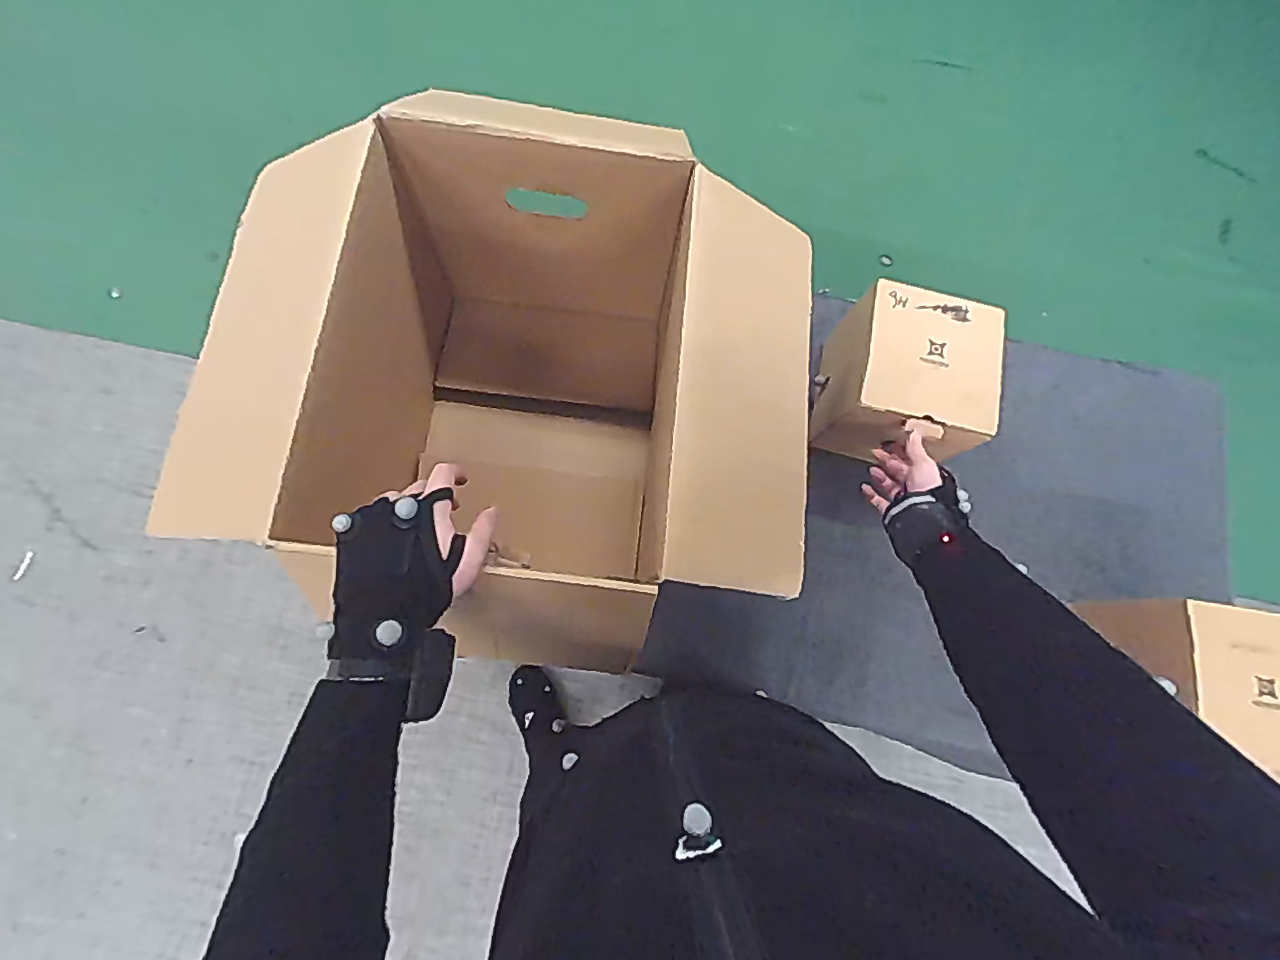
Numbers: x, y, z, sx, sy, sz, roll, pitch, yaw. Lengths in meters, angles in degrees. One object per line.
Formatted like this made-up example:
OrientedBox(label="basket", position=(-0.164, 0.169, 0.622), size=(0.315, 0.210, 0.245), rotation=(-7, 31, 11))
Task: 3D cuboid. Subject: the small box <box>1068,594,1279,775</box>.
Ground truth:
OrientedBox(label="small box", position=(0.671, 0.243, 0.664), size=(0.168, 0.176, 0.179), rotation=(10, 75, -1))
